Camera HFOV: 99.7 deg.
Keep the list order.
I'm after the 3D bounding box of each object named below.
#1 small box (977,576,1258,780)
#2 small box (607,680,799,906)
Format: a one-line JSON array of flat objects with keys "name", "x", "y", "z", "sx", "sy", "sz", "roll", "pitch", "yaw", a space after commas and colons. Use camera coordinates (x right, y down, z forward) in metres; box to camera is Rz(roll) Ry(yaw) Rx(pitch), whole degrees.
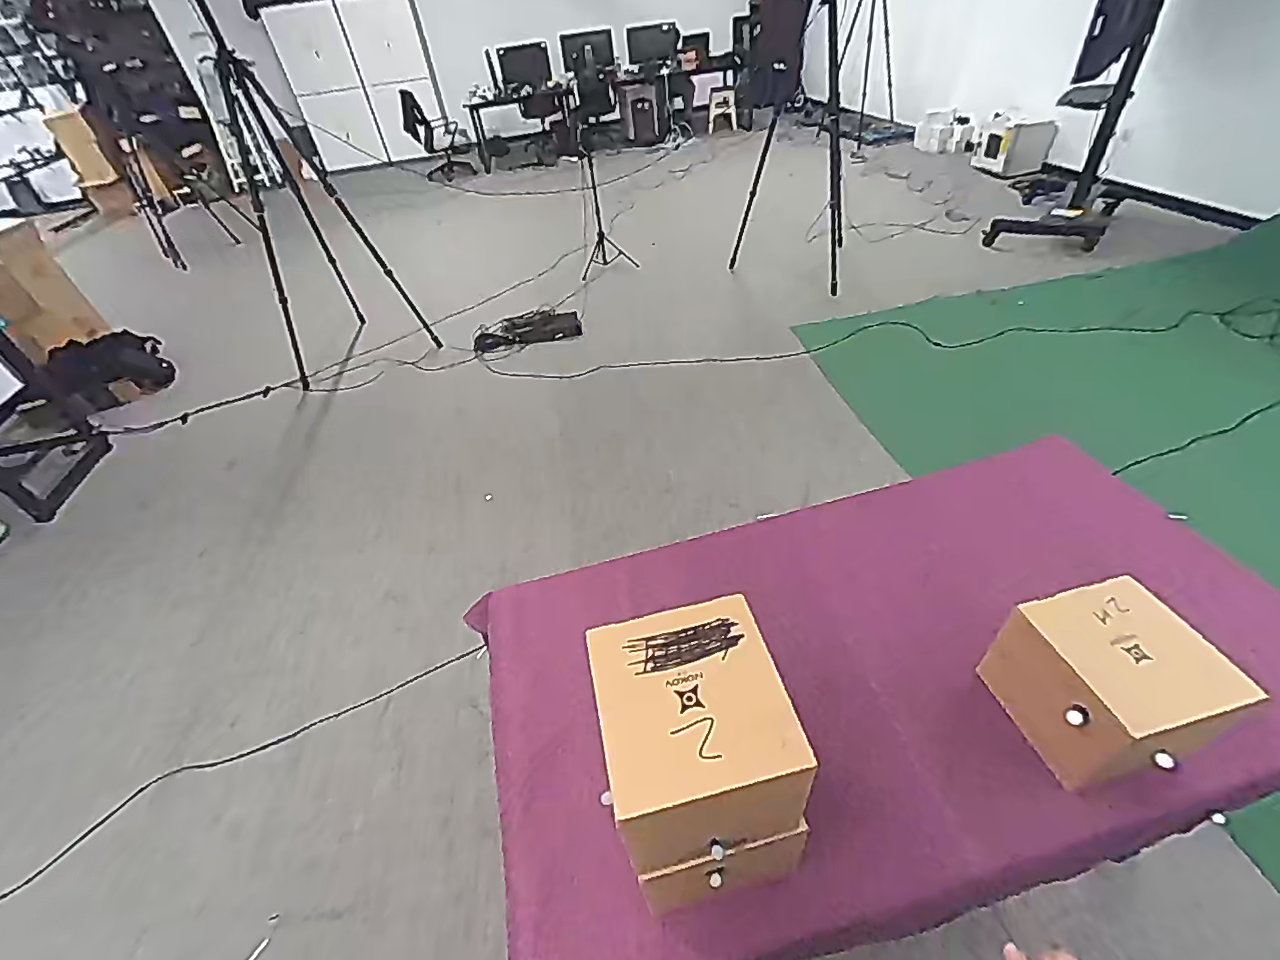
[{"name": "small box", "x": 0.578, "y": 0.256, "z": 0.688, "sx": 0.168, "sy": 0.176, "sz": 0.179, "roll": -12, "pitch": 42, "yaw": -5}, {"name": "small box", "x": 0.069, "y": 0.372, "z": 0.643, "sx": 0.179, "sy": 0.176, "sz": 0.168, "roll": -13, "pitch": 42, "yaw": -6}]
